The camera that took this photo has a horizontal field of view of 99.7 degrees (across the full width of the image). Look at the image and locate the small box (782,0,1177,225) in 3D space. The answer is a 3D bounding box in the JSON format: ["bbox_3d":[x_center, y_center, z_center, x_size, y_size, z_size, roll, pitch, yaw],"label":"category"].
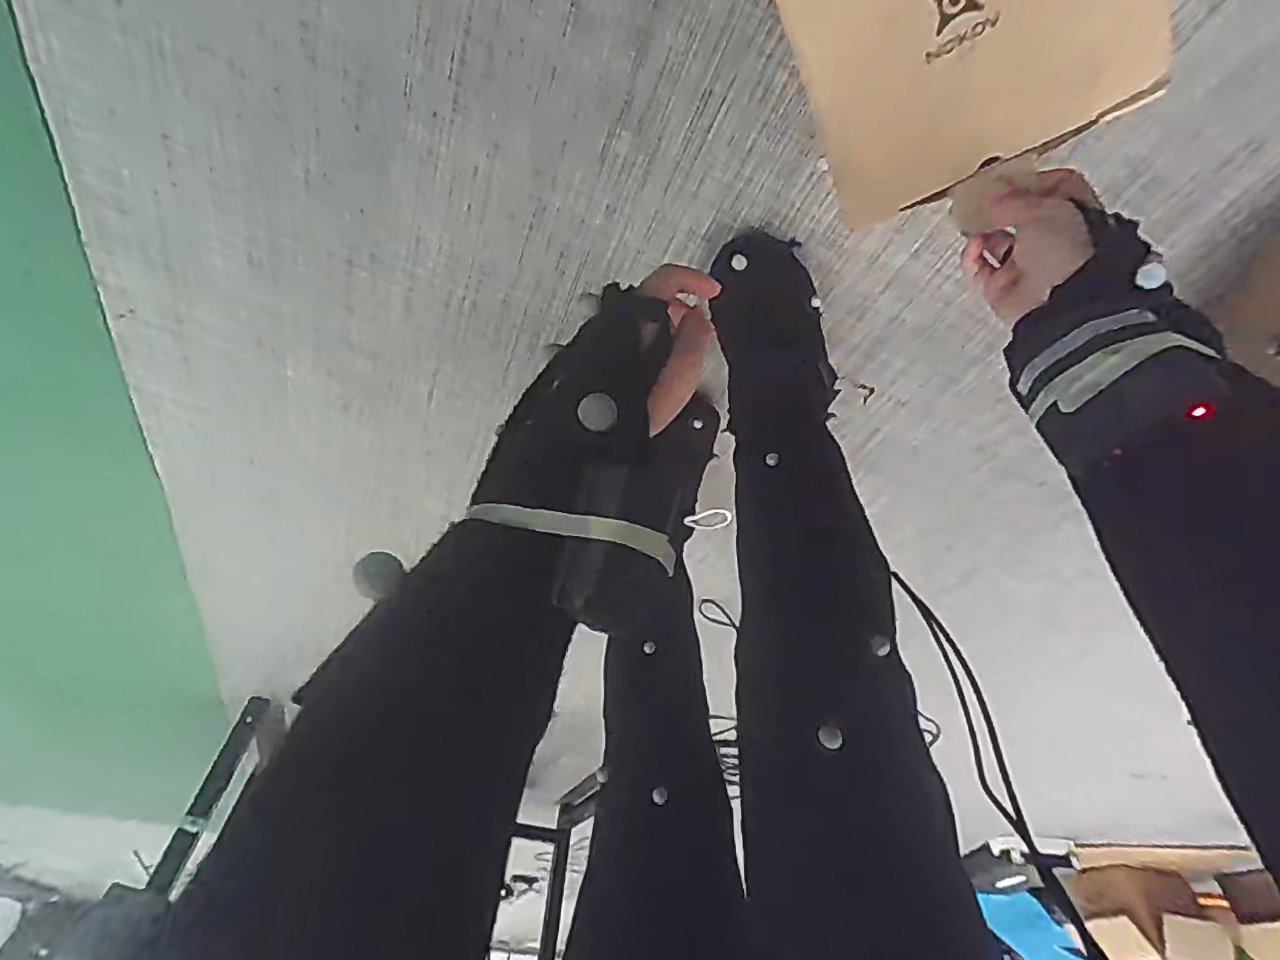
[{"bbox_3d":[0.198,-0.301,0.347,0.168,0.176,0.179,-16,116,31],"label":"small box"}]
